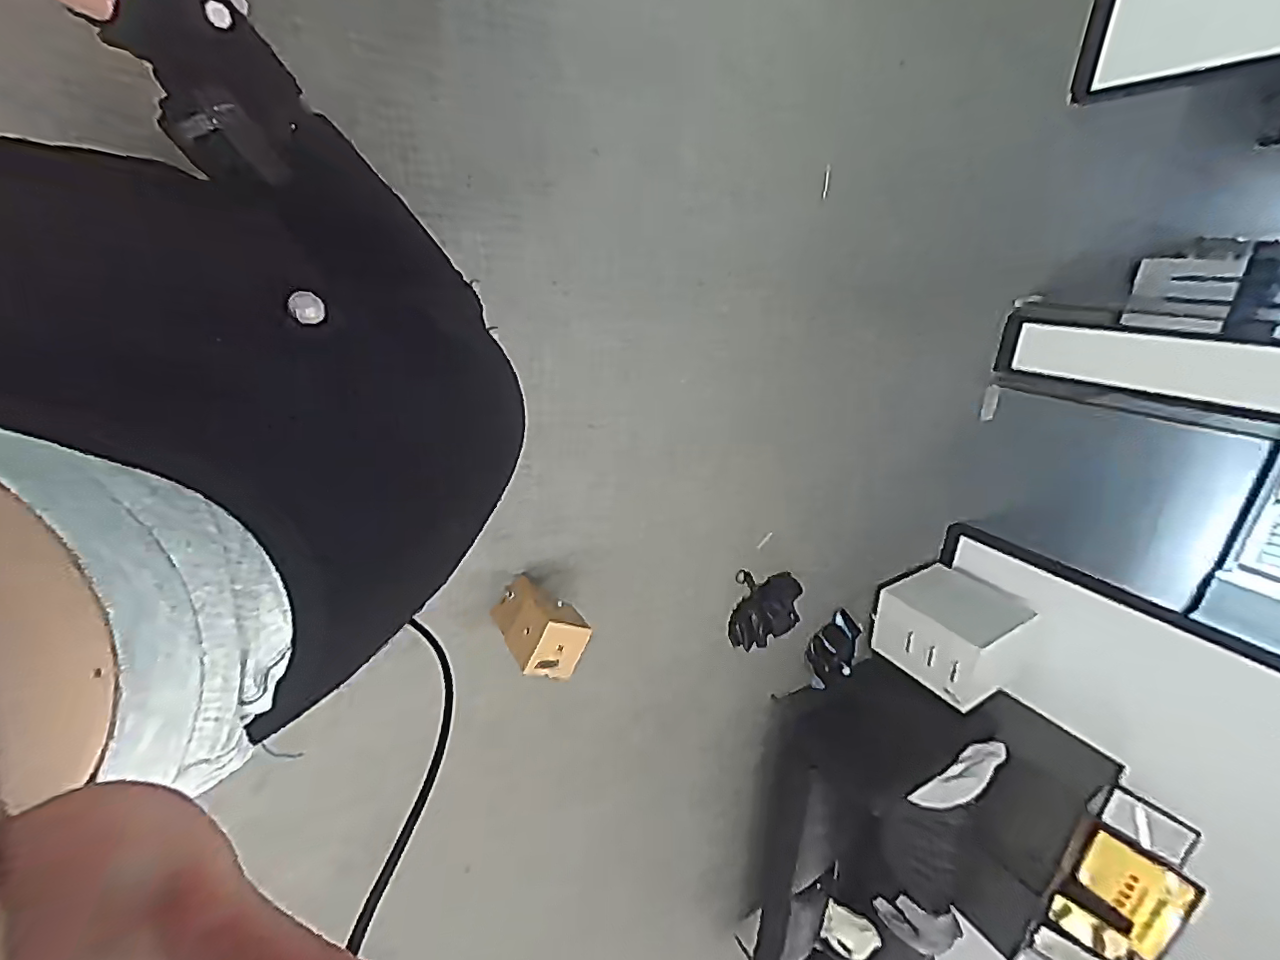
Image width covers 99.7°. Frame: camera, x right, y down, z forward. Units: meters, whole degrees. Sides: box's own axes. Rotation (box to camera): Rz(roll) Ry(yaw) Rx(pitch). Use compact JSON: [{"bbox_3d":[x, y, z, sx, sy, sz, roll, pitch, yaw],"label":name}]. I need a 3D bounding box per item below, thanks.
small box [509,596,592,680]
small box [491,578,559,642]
[{"bbox_3d":[-0.282,0.482,1.658,0.168,0.176,0.179,24,94,-38],"label":"small box"},{"bbox_3d":[-0.362,0.453,1.801,0.179,0.176,0.168,39,86,-36],"label":"small box"}]
